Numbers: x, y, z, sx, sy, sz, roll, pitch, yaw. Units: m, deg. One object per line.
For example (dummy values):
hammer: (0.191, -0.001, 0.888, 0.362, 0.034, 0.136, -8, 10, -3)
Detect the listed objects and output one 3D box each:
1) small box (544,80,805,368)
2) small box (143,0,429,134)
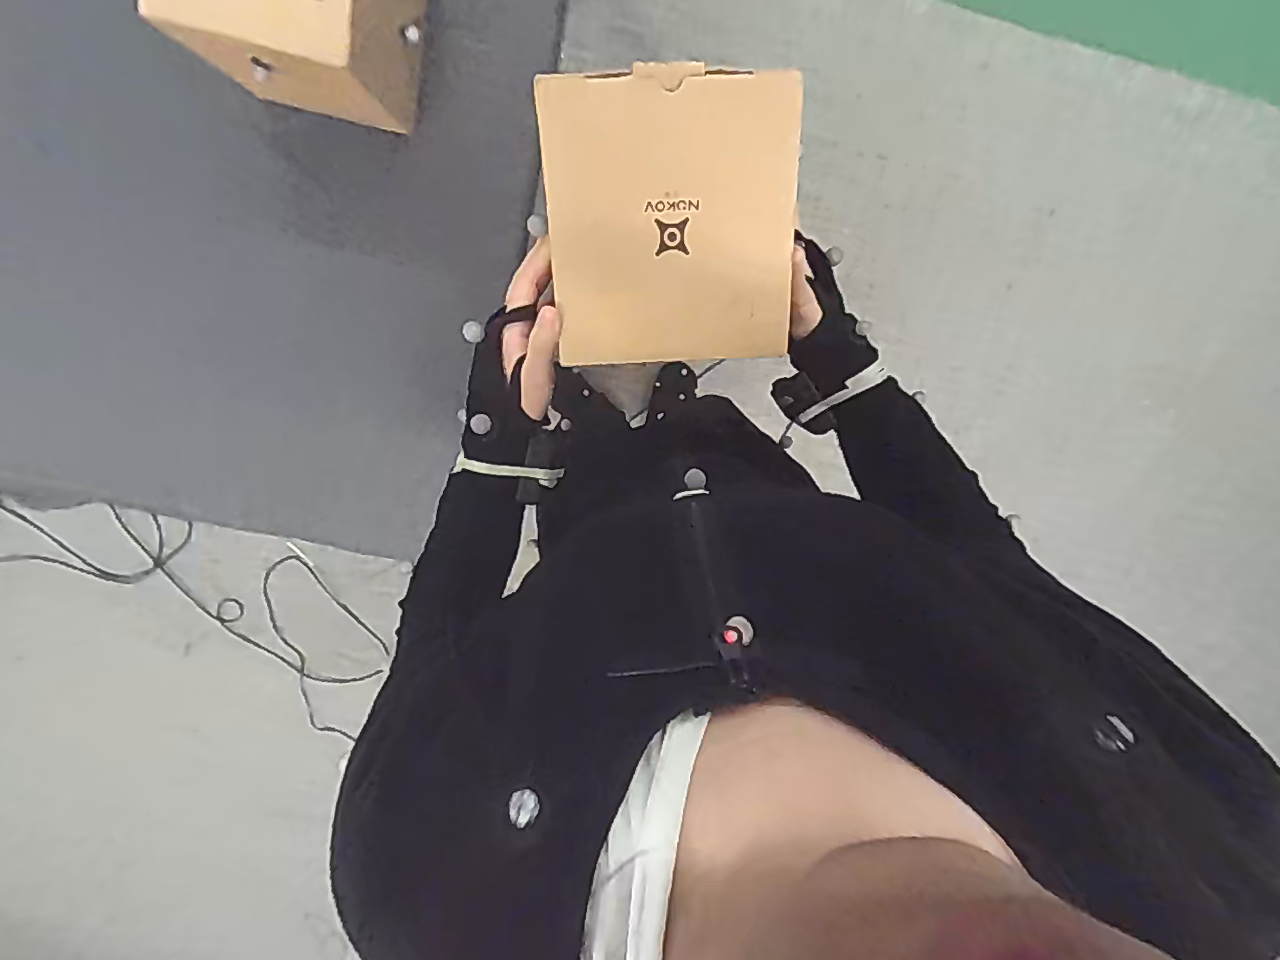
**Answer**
small box: (0.020, -0.194, 0.438, 0.168, 0.176, 0.179, -3, 111, -2)
small box: (-0.333, -0.476, 0.536, 0.179, 0.176, 0.168, 11, 104, -6)
